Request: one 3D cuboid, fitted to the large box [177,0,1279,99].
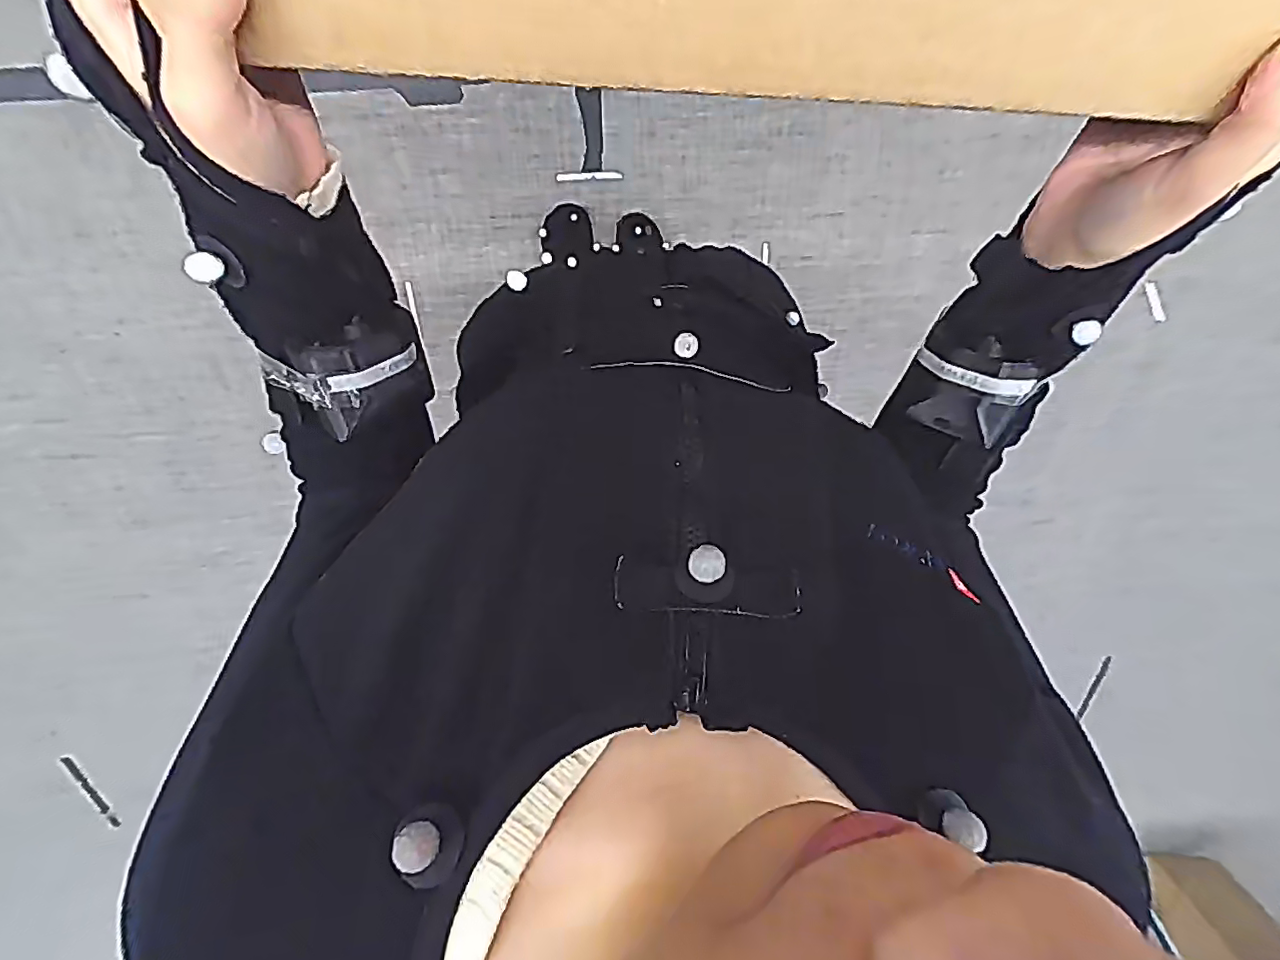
[{"bbox_3d":[0.048,-0.353,0.161,0.408,0.320,0.320,0,145,-4],"label":"large box"}]
